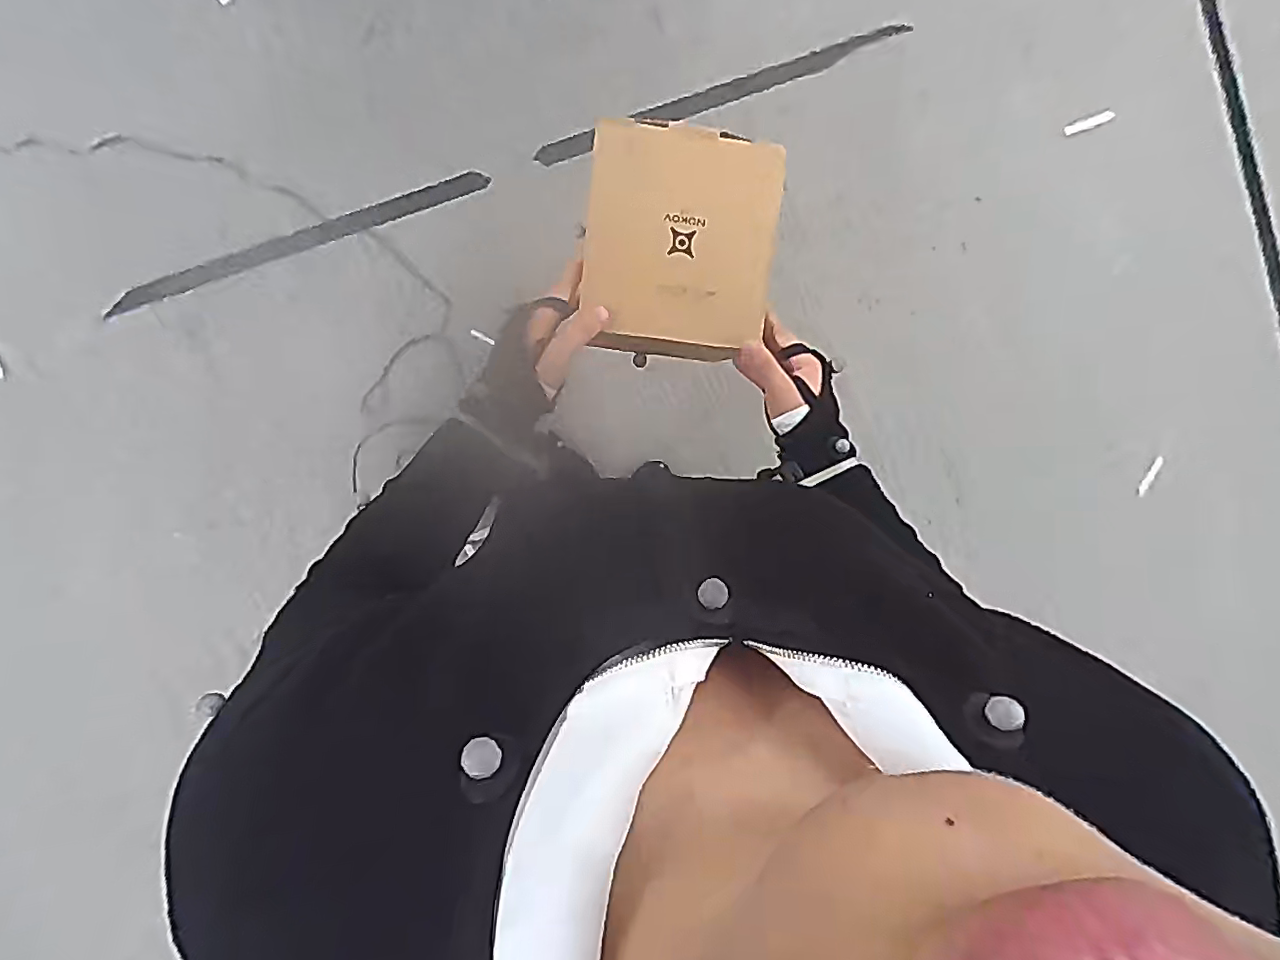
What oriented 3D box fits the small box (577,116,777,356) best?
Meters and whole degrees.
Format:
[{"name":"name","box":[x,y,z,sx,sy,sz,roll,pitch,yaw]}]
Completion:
[{"name":"small box","box":[0.024,-0.226,0.549,0.168,0.176,0.179,4,100,-6]}]
